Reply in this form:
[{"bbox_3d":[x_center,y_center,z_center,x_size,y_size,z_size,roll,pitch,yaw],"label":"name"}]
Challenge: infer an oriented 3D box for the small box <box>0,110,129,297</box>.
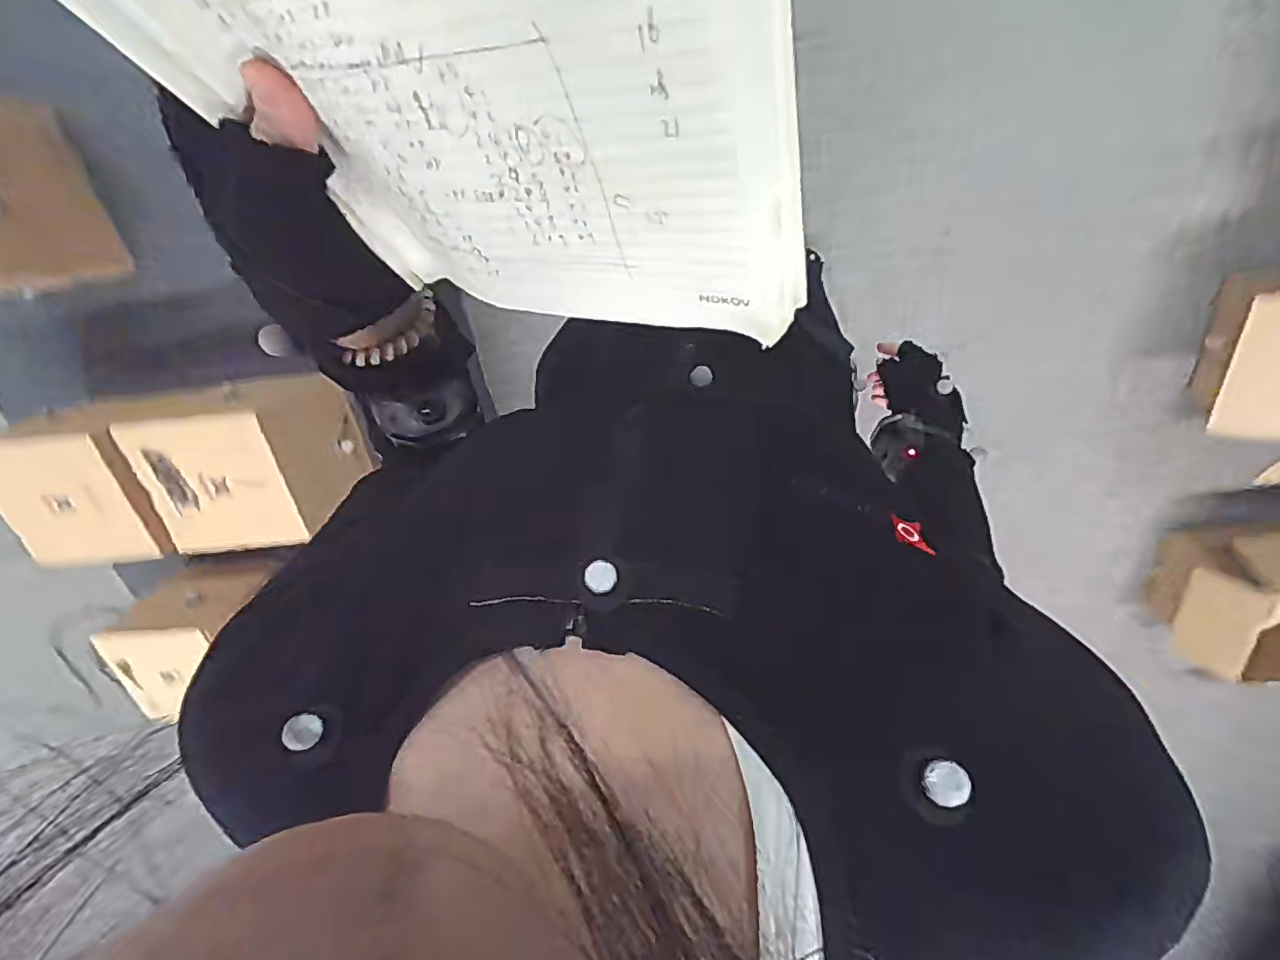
[{"bbox_3d":[-0.731,-0.291,0.580,0.168,0.176,0.179,-7,116,6],"label":"small box"}]
